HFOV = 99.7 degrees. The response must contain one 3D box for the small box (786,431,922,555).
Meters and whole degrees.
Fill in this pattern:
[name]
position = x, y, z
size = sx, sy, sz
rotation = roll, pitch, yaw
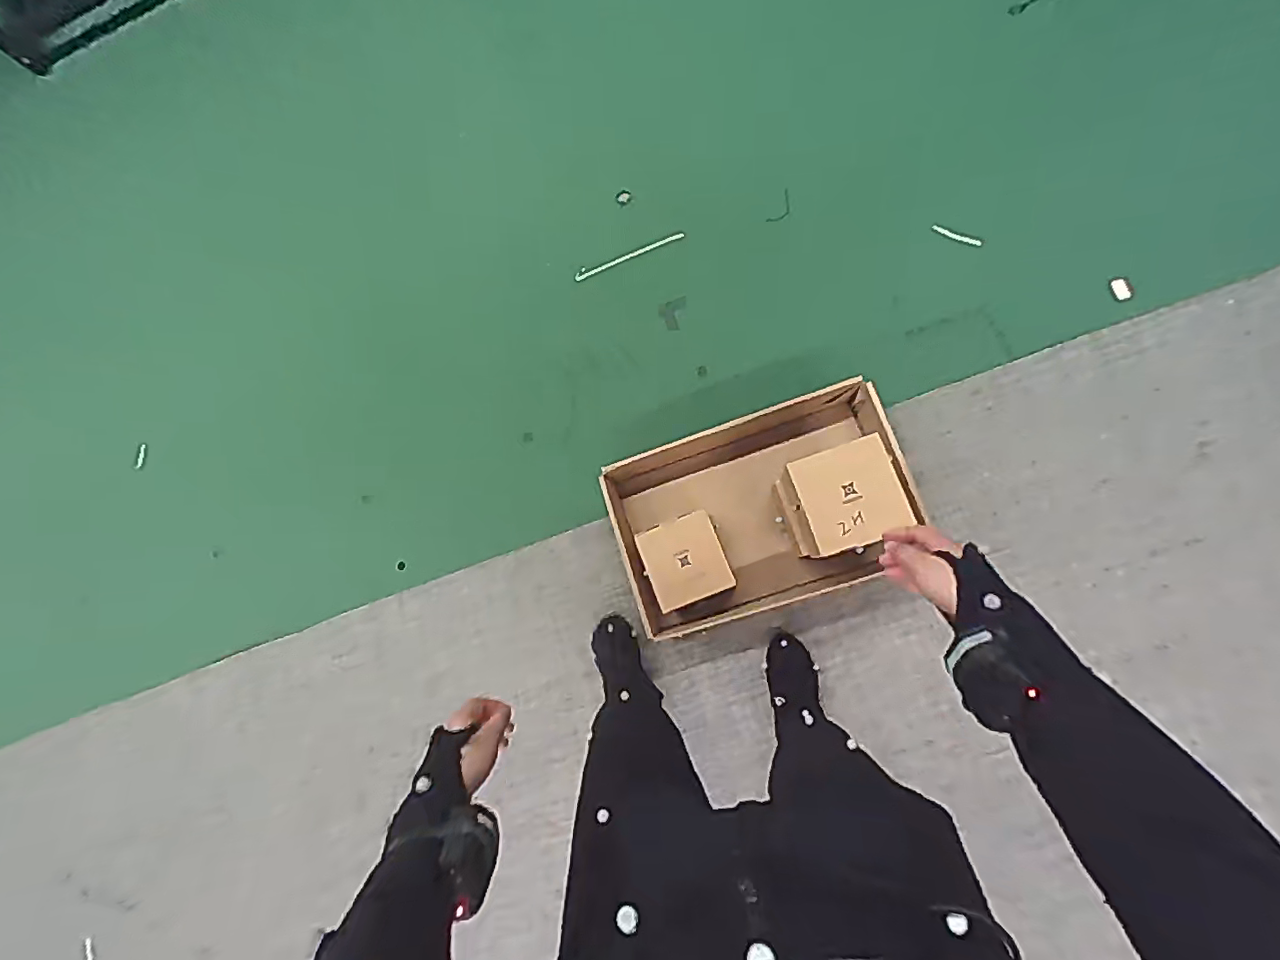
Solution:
[small box]
position = 0.376, 0.032, 0.989
size = 0.168, 0.176, 0.179
rotation = -20, 80, 8
